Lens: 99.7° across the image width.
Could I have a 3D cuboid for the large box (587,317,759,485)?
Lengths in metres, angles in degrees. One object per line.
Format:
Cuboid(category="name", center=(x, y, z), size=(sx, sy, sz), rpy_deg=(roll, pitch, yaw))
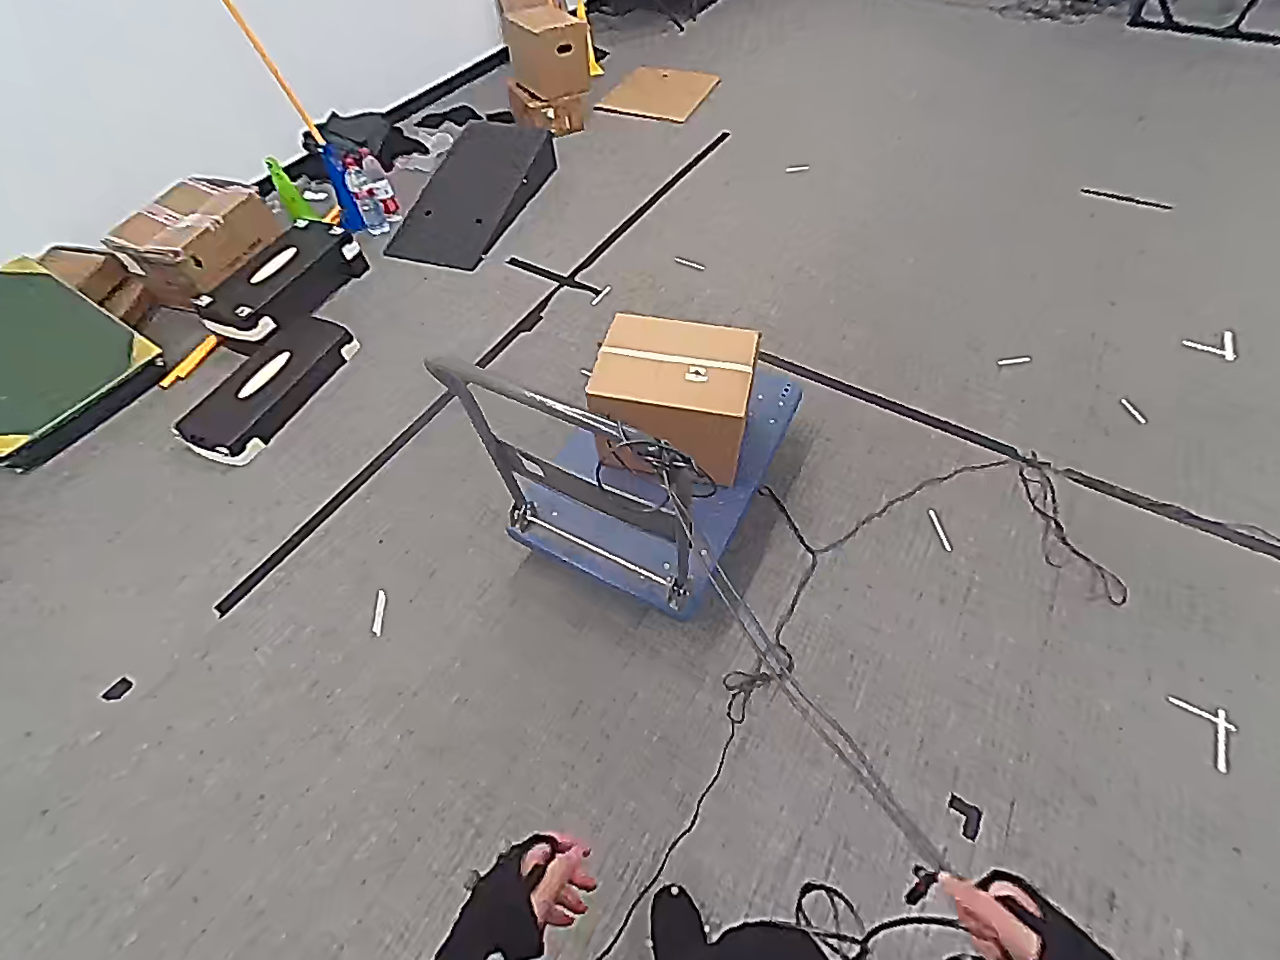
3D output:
Cuboid(category="large box", center=(0.095, -0.218, 1.517), size=(0.408, 0.320, 0.320), rpy_deg=(11, 58, 9))
